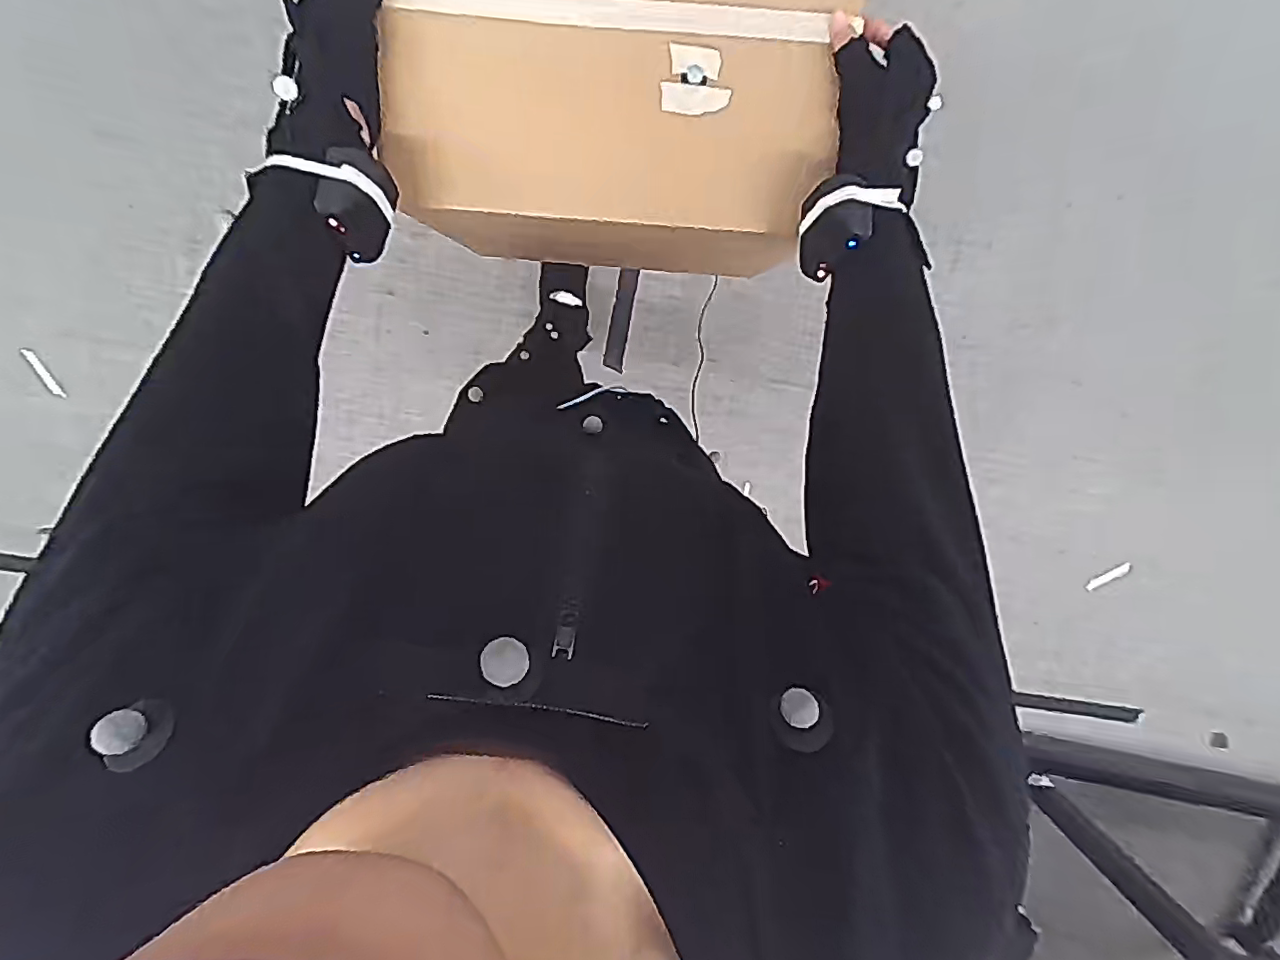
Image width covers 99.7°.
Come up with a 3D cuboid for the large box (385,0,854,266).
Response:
[{"bbox_3d":[-0.021,-0.430,0.603,0.408,0.320,0.320,3,105,-2],"label":"large box"}]
